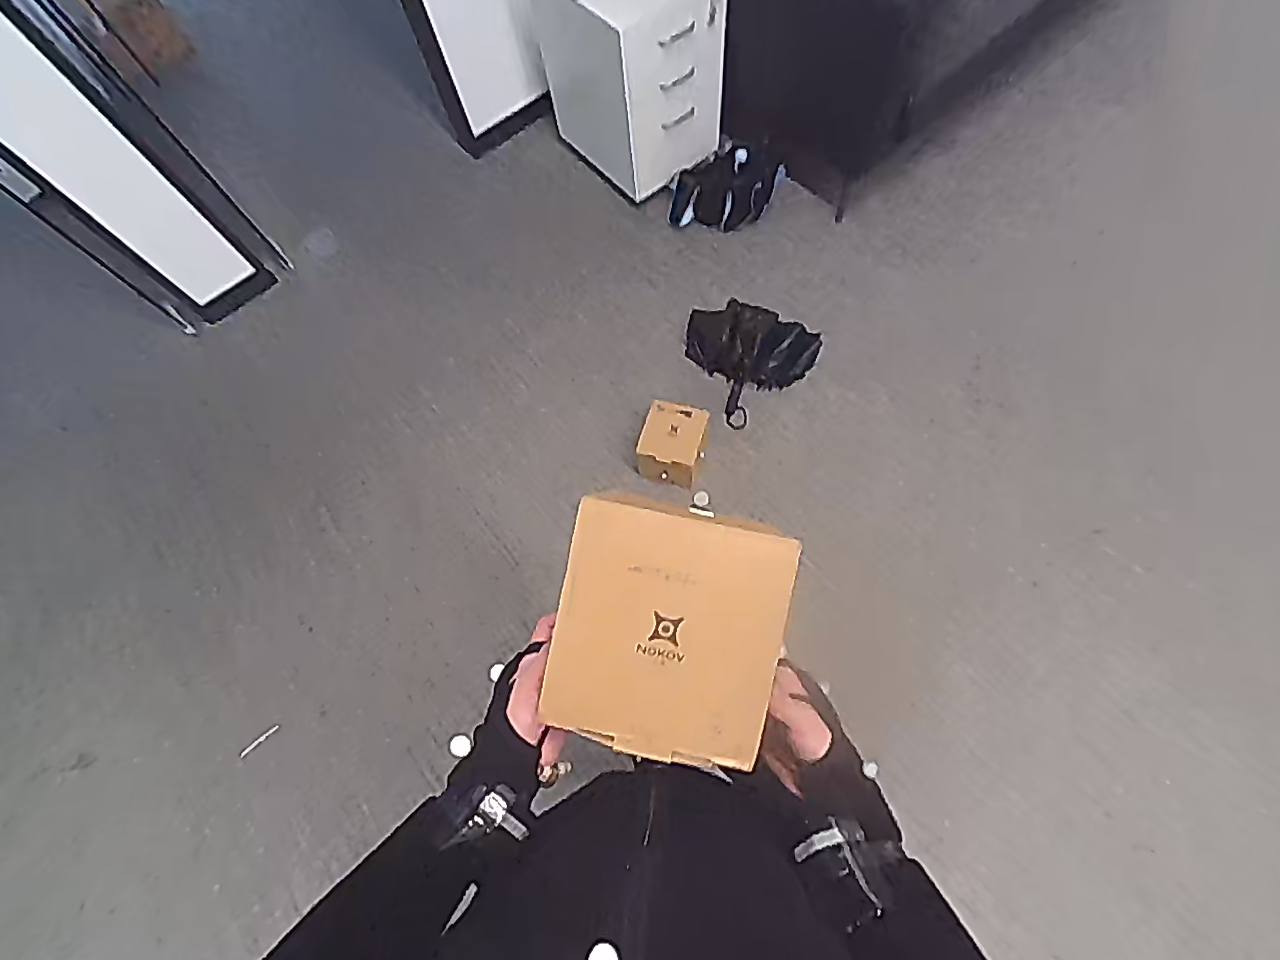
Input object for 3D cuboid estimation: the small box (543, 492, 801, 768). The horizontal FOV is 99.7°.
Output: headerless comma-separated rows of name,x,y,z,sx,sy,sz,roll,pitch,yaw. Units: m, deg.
small box,0.027,0.112,0.479,0.168,0.176,0.179,11,91,2
